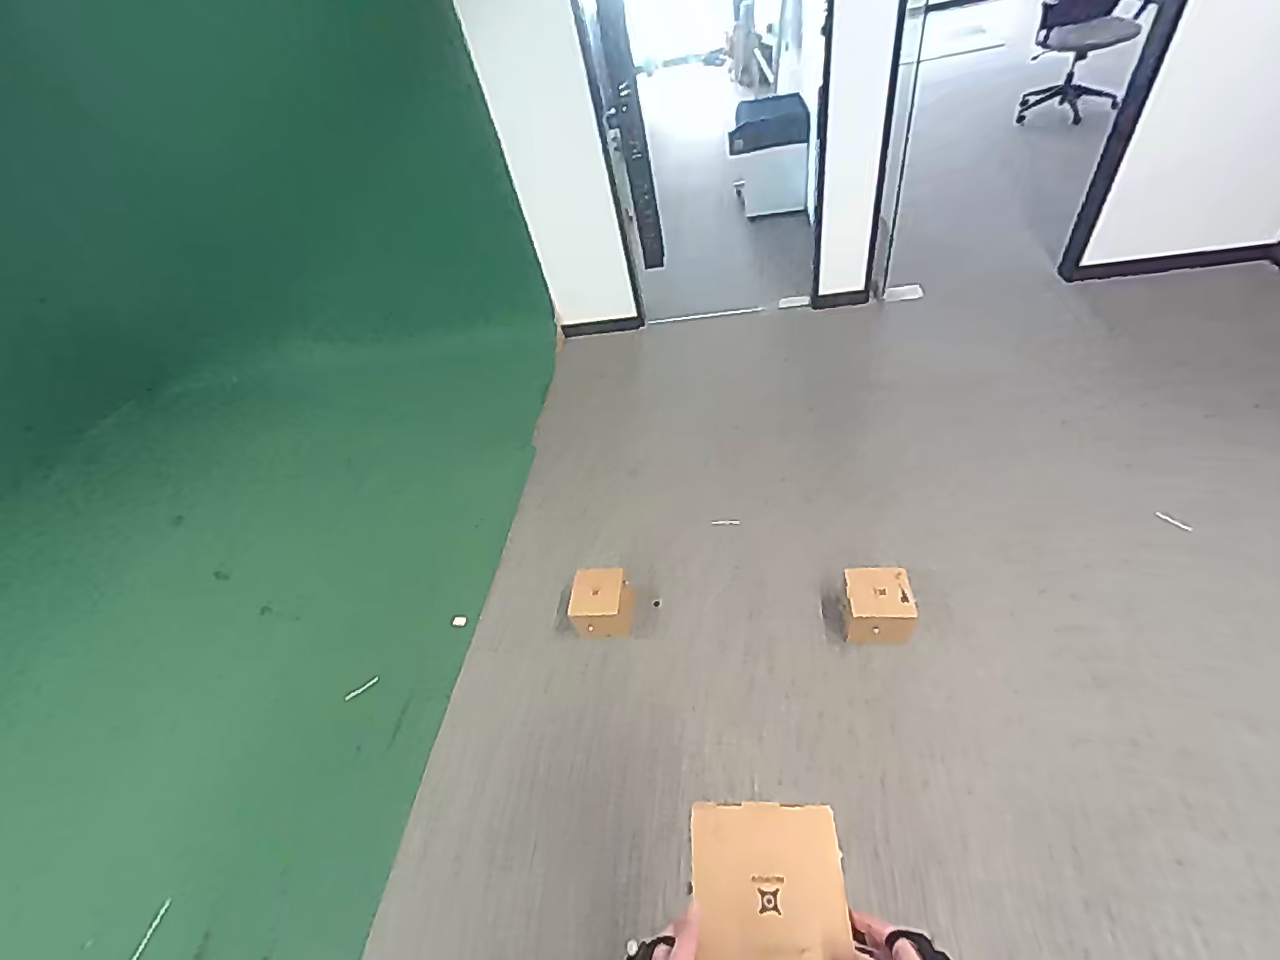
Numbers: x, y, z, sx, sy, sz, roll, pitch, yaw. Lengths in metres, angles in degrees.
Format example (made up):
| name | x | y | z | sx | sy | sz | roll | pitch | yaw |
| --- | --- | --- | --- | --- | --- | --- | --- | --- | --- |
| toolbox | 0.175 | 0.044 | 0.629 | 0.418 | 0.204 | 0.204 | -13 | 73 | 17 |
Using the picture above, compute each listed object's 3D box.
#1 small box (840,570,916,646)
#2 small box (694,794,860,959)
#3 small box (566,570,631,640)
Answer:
| name | x | y | z | sx | sy | sz | roll | pitch | yaw |
| --- | --- | --- | --- | --- | --- | --- | --- | --- | --- |
| small box | 0.701 | 0.383 | 1.613 | 0.179 | 0.176 | 0.168 | -3 | 47 | 12 |
| small box | 0.147 | 0.485 | 0.634 | 0.168 | 0.176 | 0.179 | -2 | 52 | 7 |
| small box | -0.132 | 0.418 | 1.790 | 0.168 | 0.176 | 0.179 | -4 | 45 | 11 |
